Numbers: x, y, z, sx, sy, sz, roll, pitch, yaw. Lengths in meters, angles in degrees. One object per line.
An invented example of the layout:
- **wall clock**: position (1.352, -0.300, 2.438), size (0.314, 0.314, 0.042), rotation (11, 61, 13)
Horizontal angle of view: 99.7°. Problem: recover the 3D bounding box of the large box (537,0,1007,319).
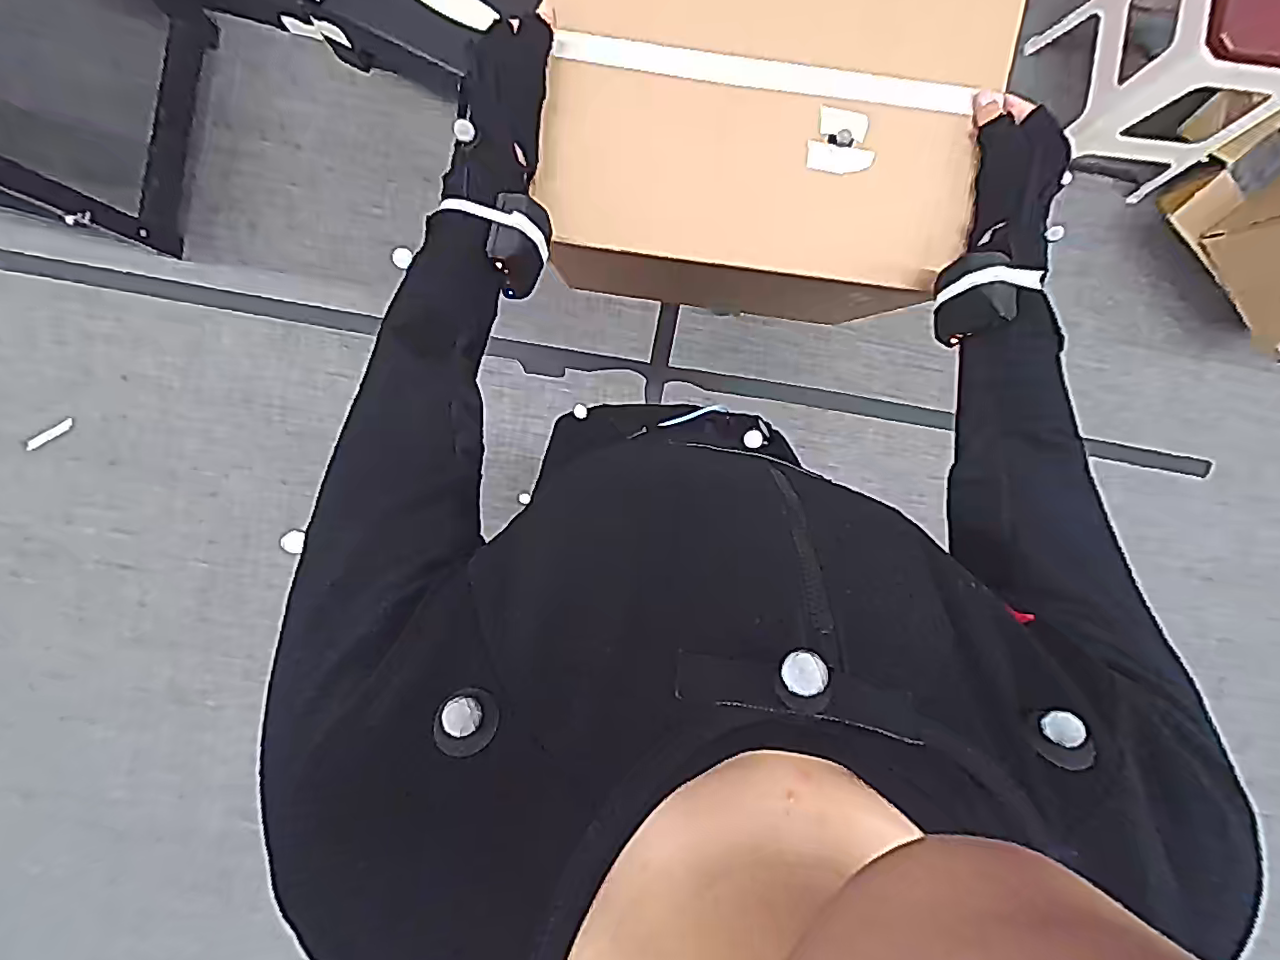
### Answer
- **large box**: position (0.110, -0.381, 0.629), size (0.408, 0.320, 0.320), rotation (7, 101, -3)
